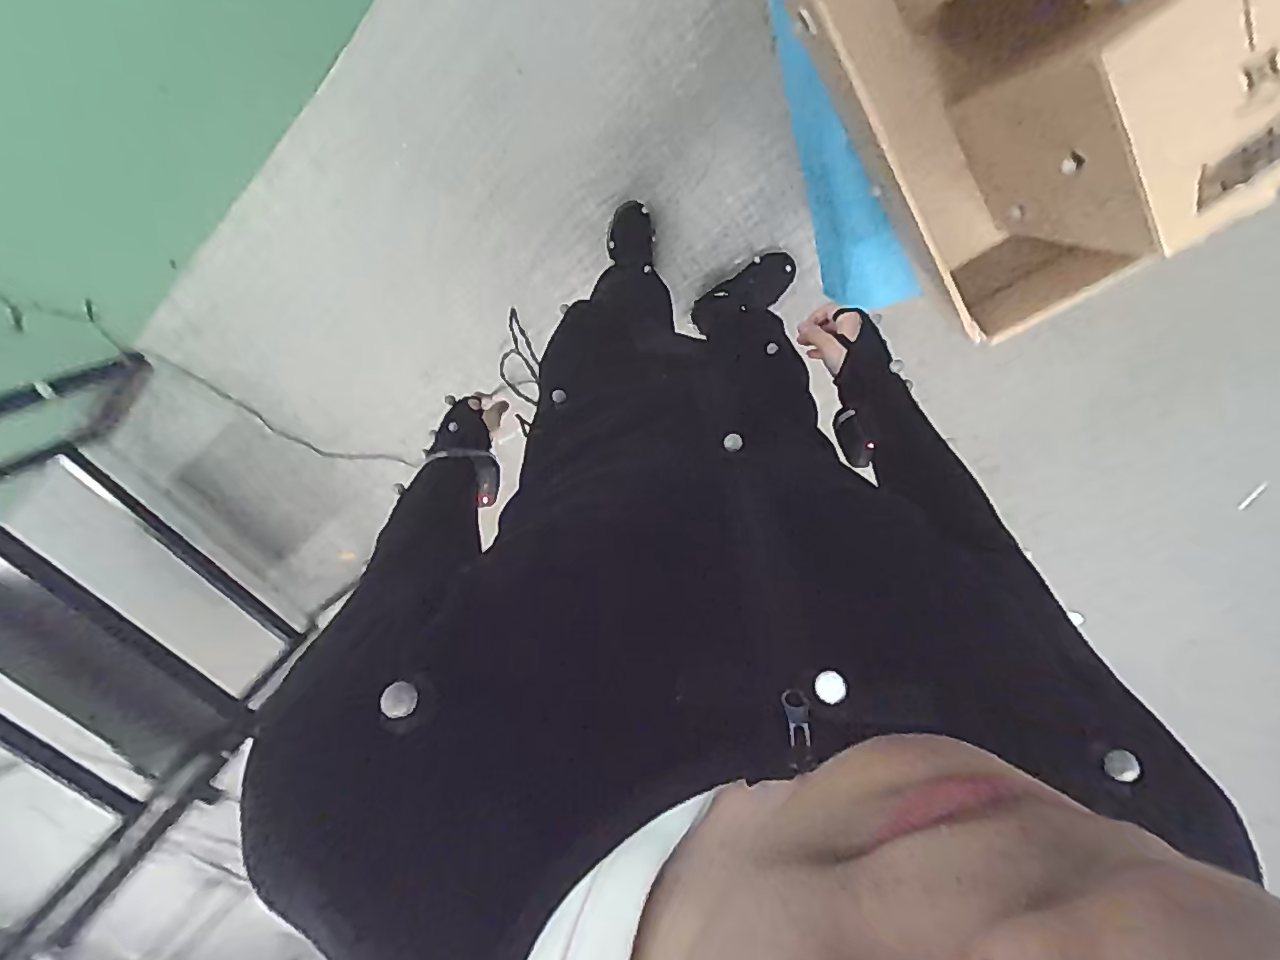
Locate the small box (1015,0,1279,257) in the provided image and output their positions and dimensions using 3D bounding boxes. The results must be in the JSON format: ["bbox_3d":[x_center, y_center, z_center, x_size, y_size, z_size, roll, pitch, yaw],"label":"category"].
[{"bbox_3d":[0.467,-0.323,0.461,0.168,0.176,0.179,-29,109,23],"label":"small box"}]

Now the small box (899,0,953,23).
[{"bbox_3d":[0.341,-0.602,0.520,0.179,0.176,0.168,-29,110,22],"label":"small box"}]
